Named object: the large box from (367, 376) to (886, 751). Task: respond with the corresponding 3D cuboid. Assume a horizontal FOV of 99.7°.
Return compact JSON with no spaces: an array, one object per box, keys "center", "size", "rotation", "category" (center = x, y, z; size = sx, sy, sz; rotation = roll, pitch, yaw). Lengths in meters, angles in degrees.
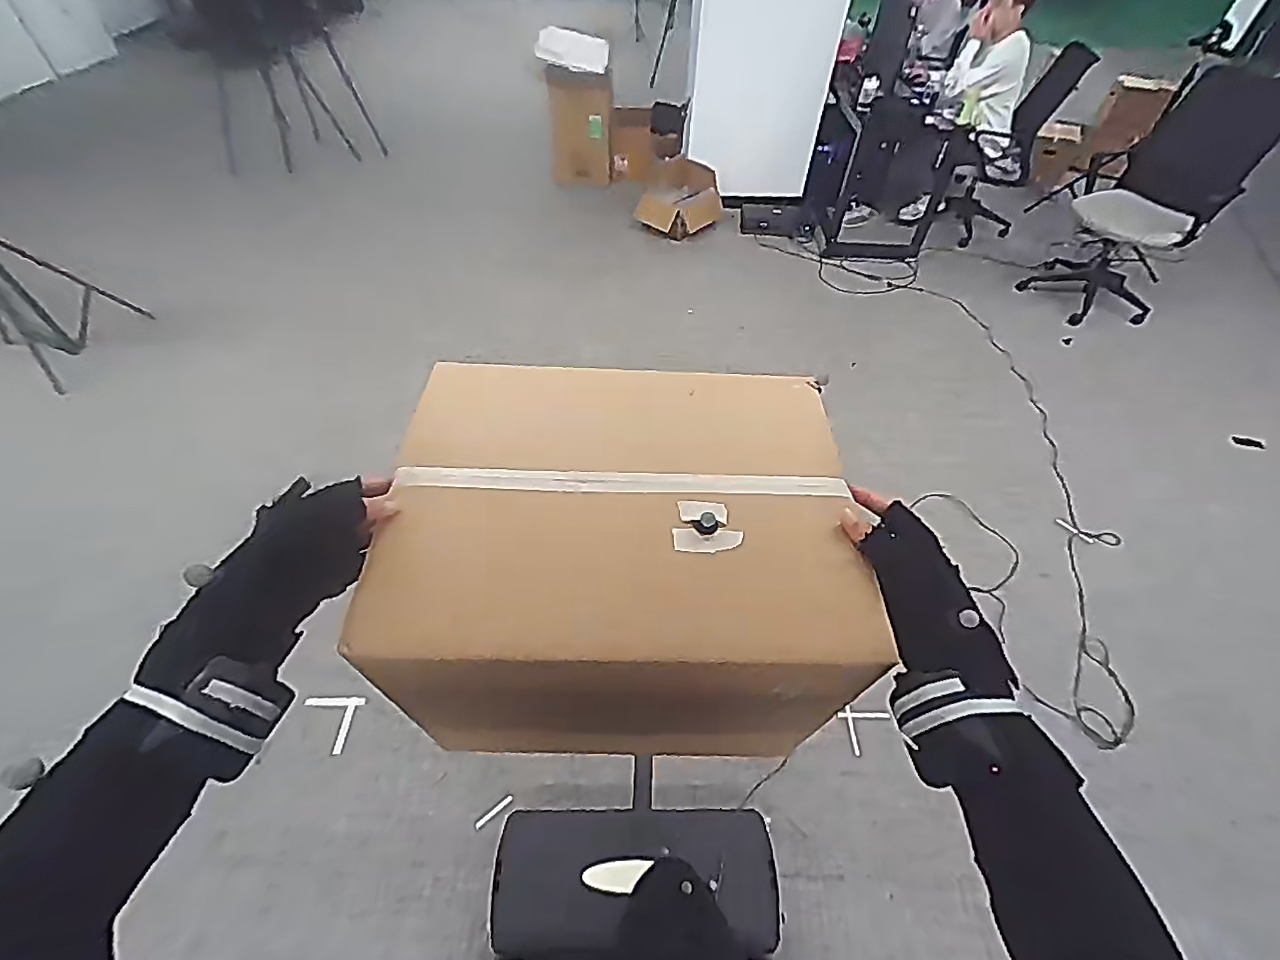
[{"center":[-0.018,0.104,0.614],"size":[0.408,0.320,0.320],"rotation":[2,52,-3],"category":"large box"}]
